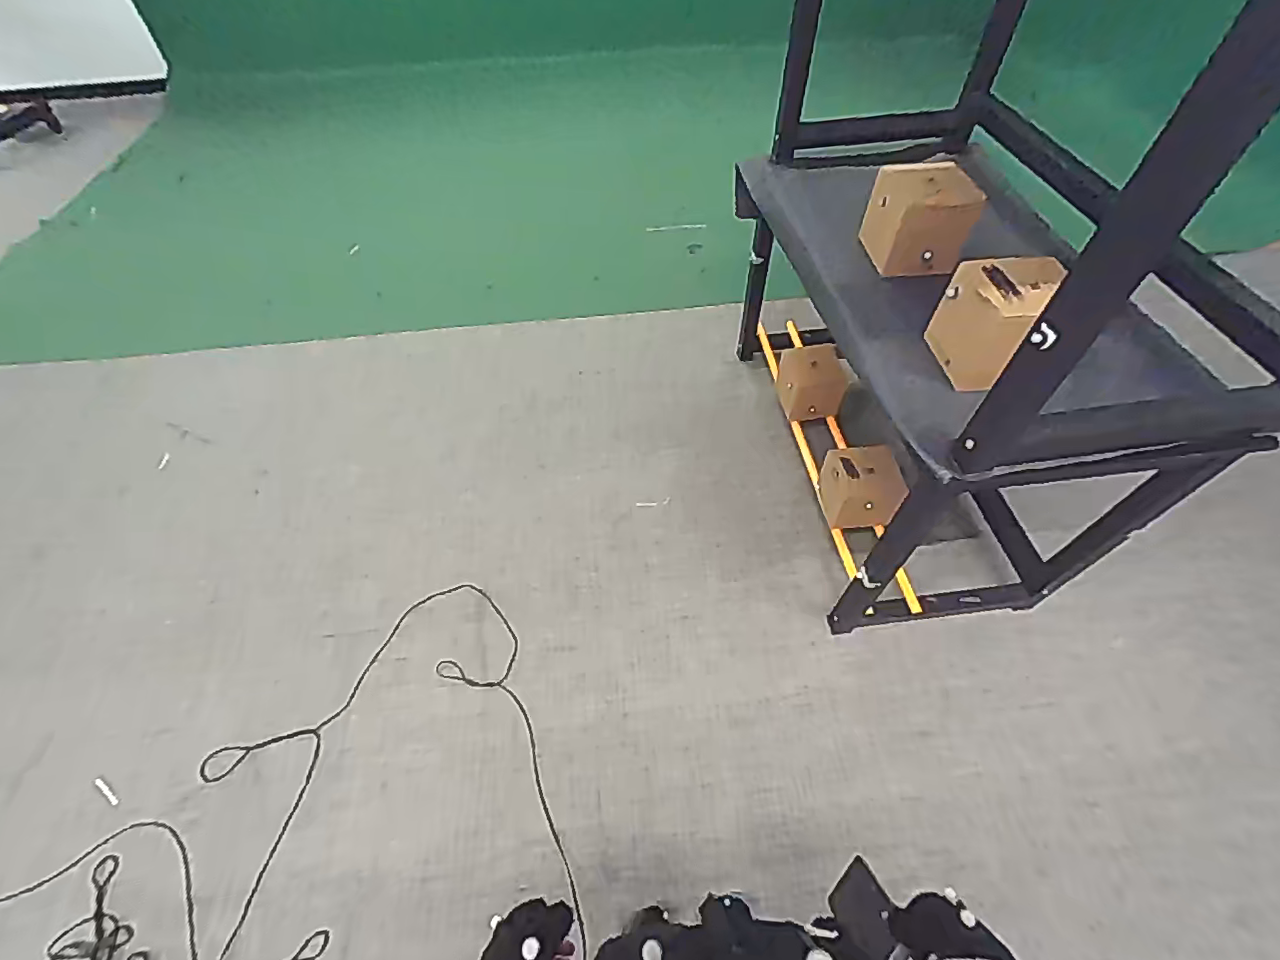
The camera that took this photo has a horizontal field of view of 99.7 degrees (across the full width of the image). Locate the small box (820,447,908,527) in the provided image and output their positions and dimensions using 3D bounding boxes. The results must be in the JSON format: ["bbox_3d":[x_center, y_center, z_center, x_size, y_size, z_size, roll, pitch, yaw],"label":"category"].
[{"bbox_3d":[0.627,0.024,1.544,0.179,0.176,0.168,-4,54,0],"label":"small box"}]

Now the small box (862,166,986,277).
[{"bbox_3d":[0.624,-0.580,1.217,0.168,0.176,0.179,-4,54,-1],"label":"small box"}]
